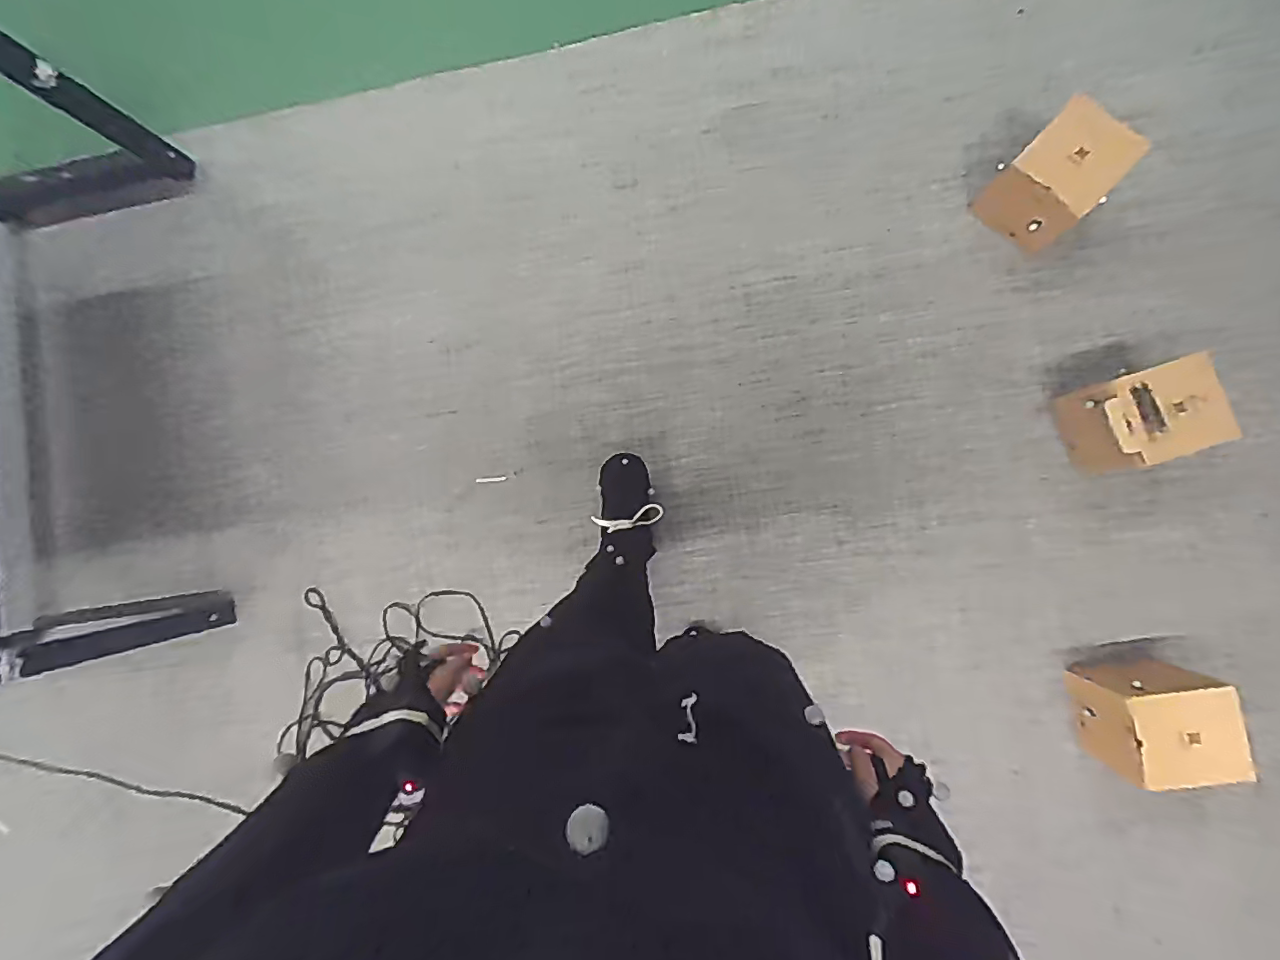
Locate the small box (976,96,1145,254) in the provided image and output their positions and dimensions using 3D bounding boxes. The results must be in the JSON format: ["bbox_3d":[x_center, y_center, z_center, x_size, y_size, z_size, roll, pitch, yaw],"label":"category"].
[{"bbox_3d":[0.812,-0.591,1.072,0.168,0.176,0.179,43,91,5],"label":"small box"}]

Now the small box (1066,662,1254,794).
[{"bbox_3d":[0.955,0.451,1.009,0.179,0.176,0.168,-10,87,6],"label":"small box"}]
